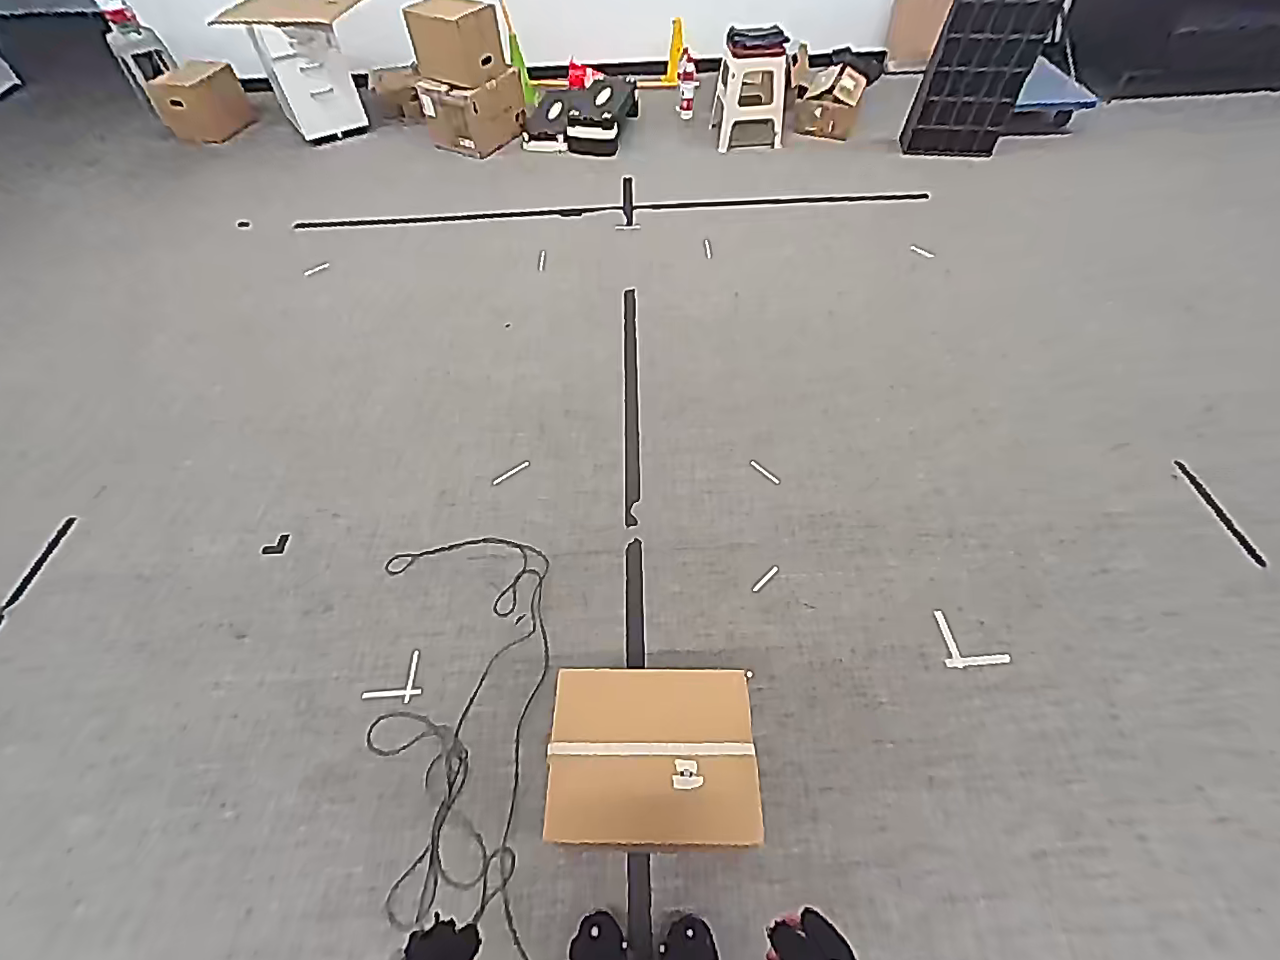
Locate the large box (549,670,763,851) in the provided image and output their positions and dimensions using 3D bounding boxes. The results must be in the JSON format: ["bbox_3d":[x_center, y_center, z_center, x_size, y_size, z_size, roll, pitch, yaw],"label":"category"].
[{"bbox_3d":[0.028,0.627,1.197,0.408,0.320,0.320,0,54,1],"label":"large box"}]
